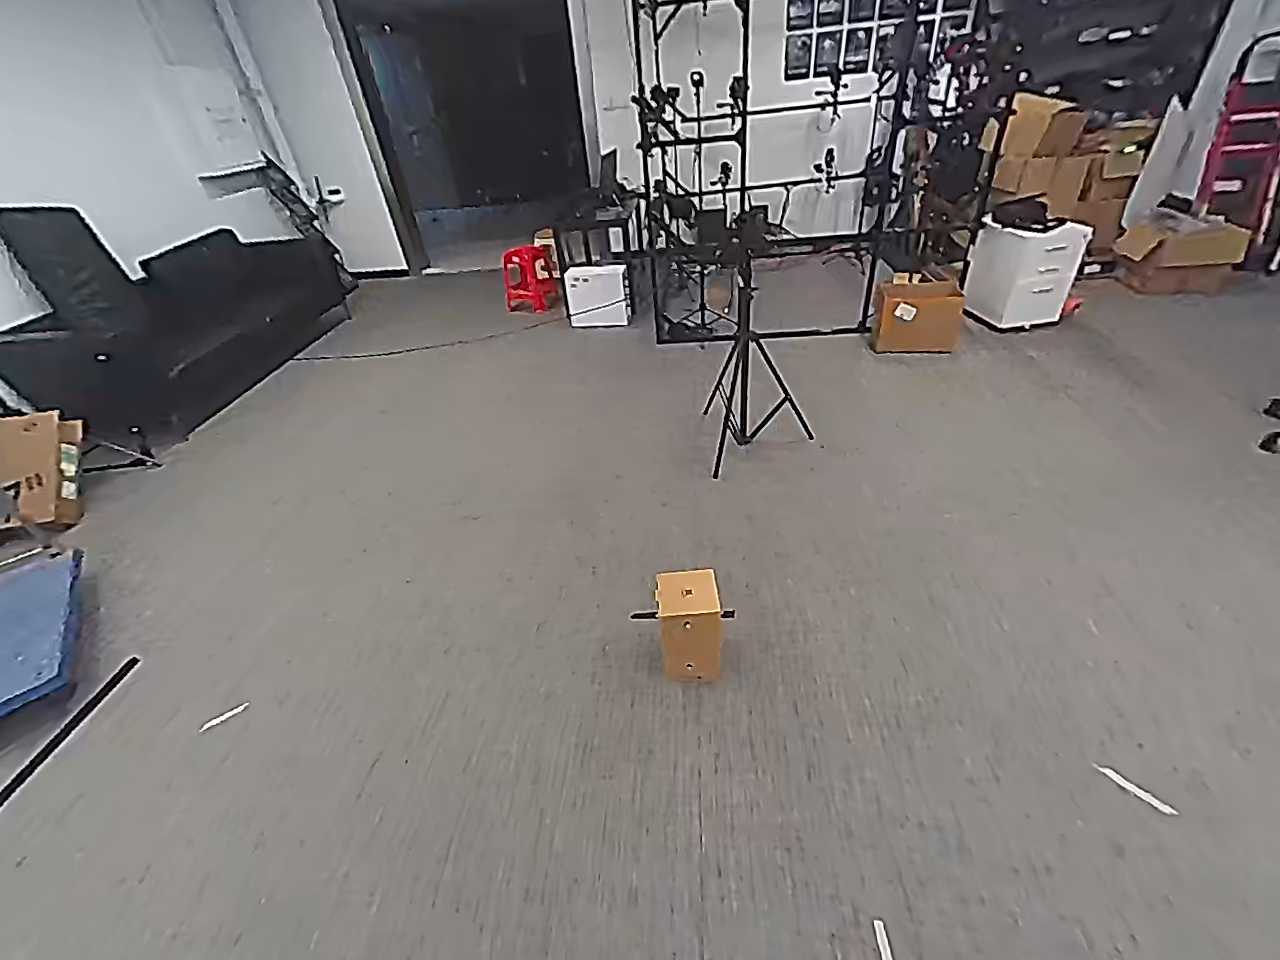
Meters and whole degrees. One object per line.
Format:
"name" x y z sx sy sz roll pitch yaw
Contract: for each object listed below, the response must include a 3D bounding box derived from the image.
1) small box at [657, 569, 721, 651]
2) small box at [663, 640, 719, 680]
"small box" 0.145 0.389 1.612 0.179 0.176 0.168 -6 36 2
"small box" 0.167 0.514 1.715 0.168 0.176 0.179 0 36 9
